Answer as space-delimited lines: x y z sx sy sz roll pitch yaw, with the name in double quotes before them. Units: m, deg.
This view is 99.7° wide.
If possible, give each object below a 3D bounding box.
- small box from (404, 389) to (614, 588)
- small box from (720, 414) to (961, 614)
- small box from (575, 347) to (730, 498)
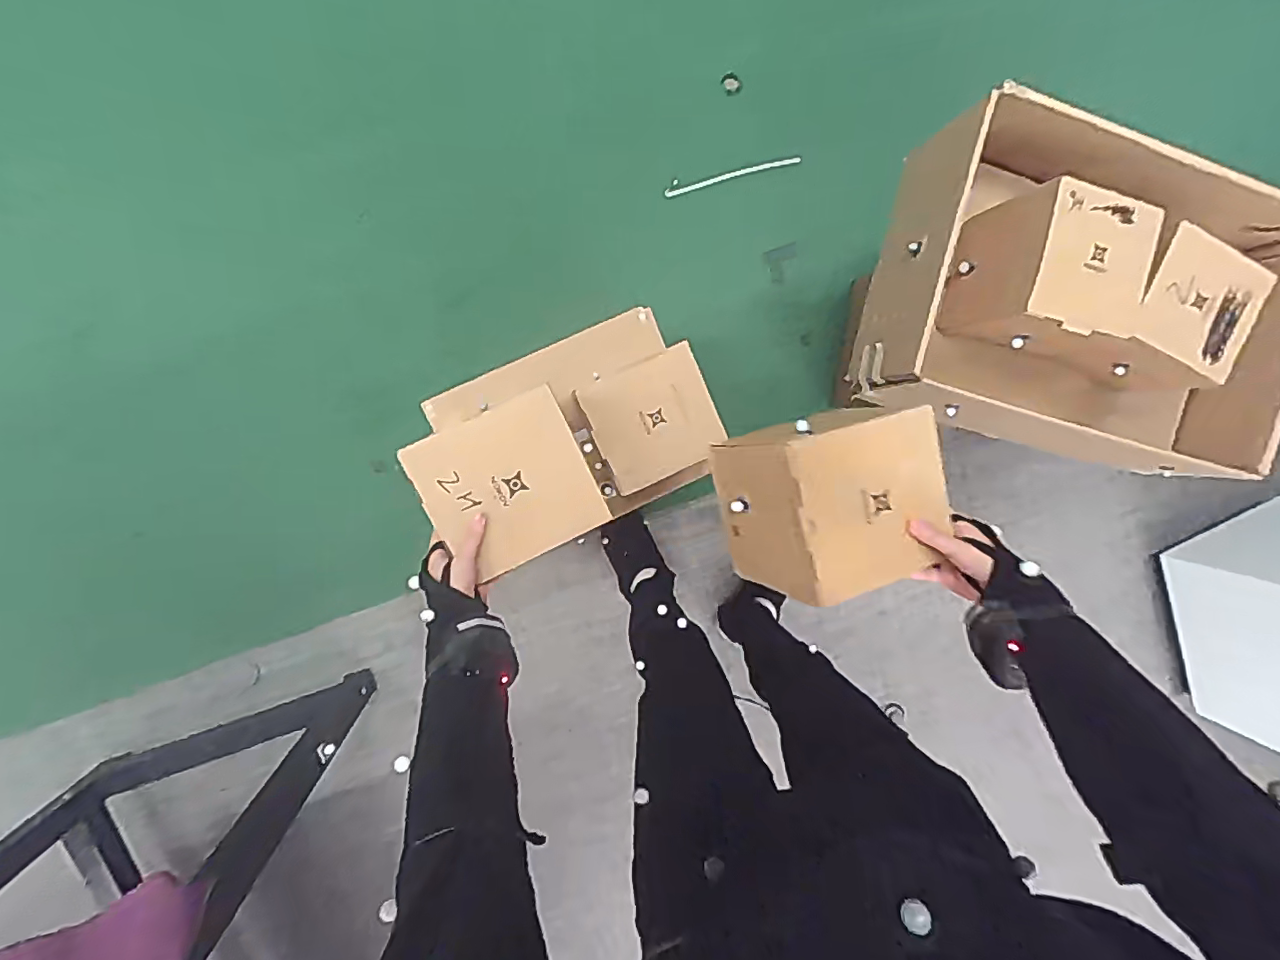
"small box" -0.149 0.001 0.658 0.179 0.176 0.168 -26 98 -4
"small box" 0.215 0.026 0.607 0.179 0.176 0.168 -15 97 -18
"small box" 0.011 -0.087 0.839 0.179 0.176 0.168 -25 99 -5
